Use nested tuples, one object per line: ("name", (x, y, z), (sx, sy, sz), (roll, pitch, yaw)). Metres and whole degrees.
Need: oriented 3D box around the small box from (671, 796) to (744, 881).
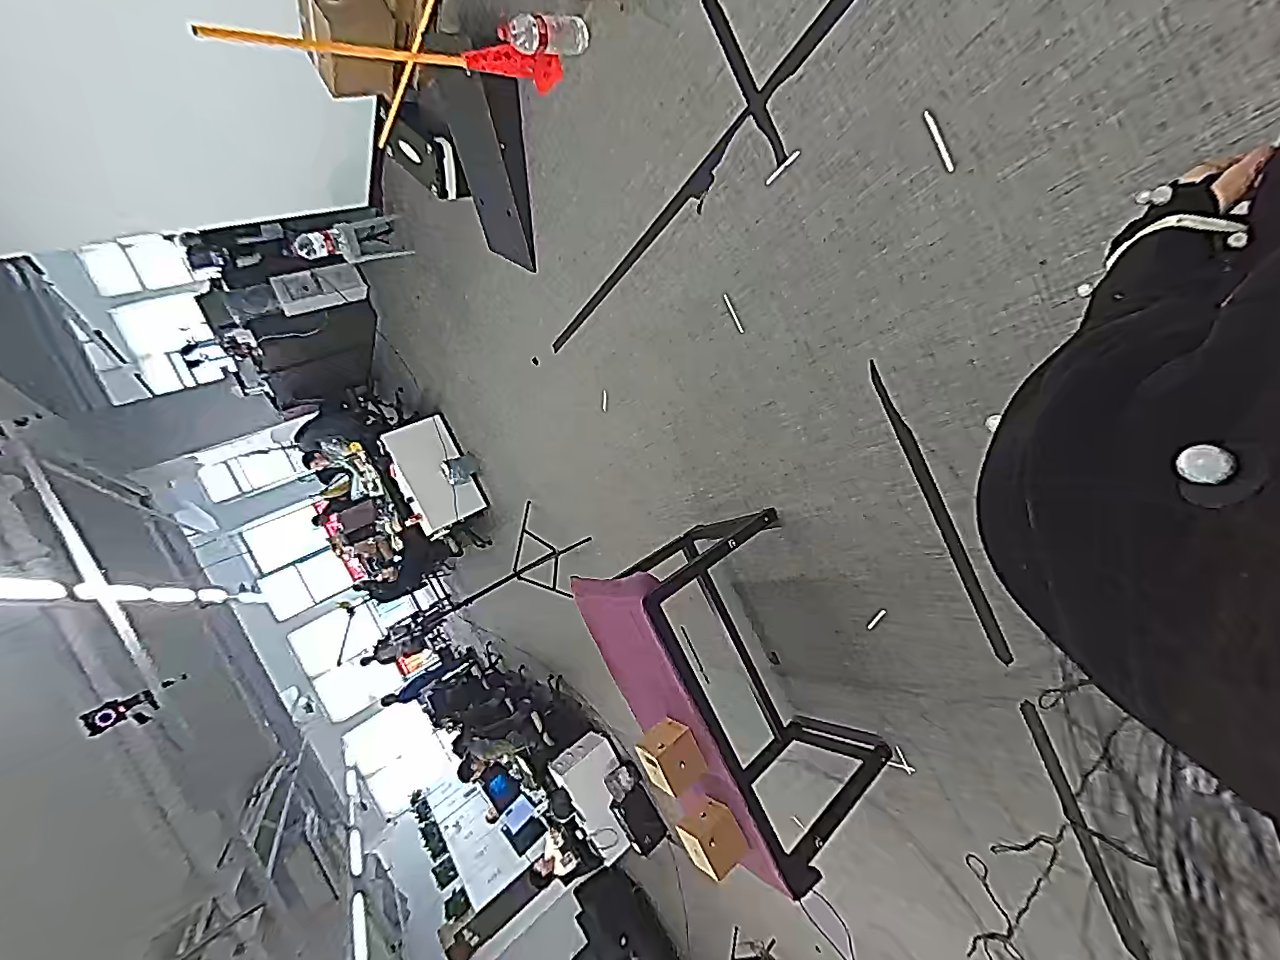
("small box", (0.252, 1.322, 2.010), (0.179, 0.176, 0.168), (62, 151, -1))
